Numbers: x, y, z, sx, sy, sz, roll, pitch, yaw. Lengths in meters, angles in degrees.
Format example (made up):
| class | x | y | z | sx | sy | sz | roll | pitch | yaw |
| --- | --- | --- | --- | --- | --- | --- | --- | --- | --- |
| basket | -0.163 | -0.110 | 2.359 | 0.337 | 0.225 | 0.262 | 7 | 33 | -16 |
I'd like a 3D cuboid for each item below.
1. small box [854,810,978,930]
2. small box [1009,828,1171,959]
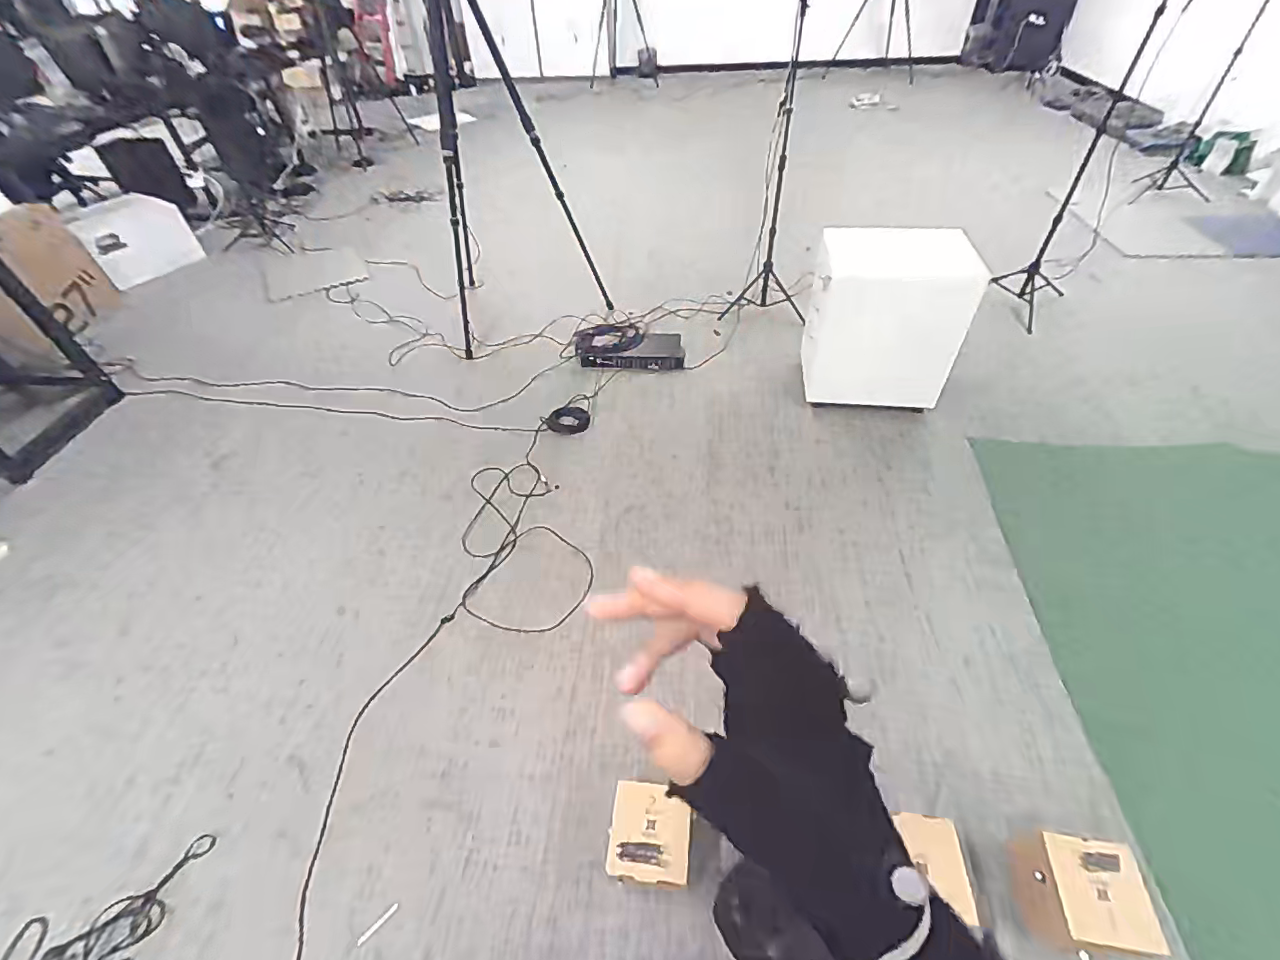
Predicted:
| class | x | y | z | sx | sy | sz | roll | pitch | yaw |
| --- | --- | --- | --- | --- | --- | --- | --- | --- | --- |
| small box | 0.562 | 0.814 | 1.127 | 0.168 | 0.176 | 0.179 | 2 | 46 | 5 |
| small box | 0.885 | 0.834 | 1.090 | 0.168 | 0.176 | 0.179 | 5 | 48 | 8 |
